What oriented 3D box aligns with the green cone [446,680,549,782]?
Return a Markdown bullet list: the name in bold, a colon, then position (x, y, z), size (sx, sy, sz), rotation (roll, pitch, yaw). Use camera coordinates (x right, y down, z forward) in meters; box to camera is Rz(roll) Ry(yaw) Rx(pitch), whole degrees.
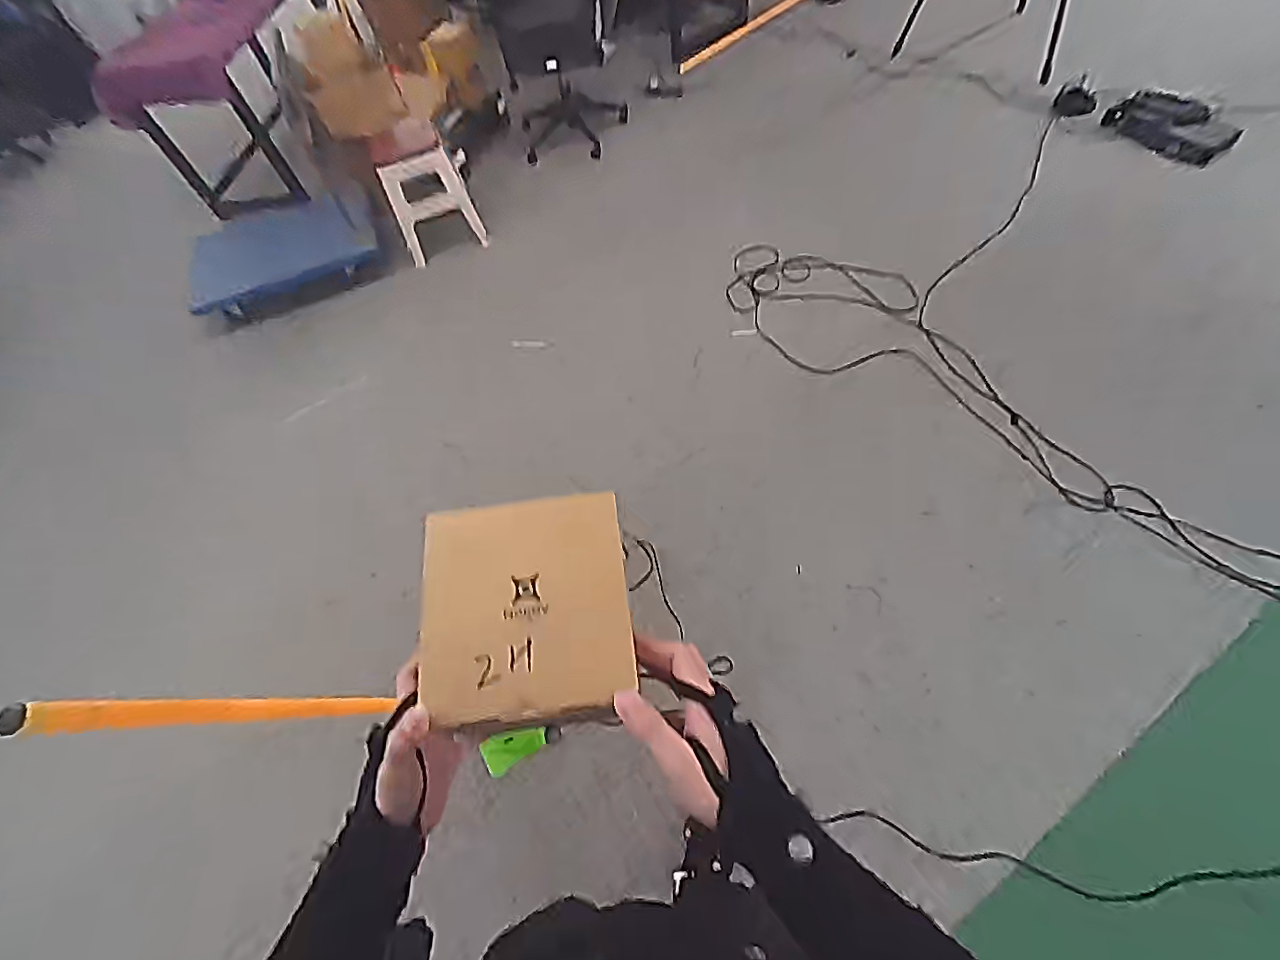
- **green cone**: position (-0.387, 0.584, 1.318), size (0.202, 0.368, 0.200), rotation (-32, 60, -13)
